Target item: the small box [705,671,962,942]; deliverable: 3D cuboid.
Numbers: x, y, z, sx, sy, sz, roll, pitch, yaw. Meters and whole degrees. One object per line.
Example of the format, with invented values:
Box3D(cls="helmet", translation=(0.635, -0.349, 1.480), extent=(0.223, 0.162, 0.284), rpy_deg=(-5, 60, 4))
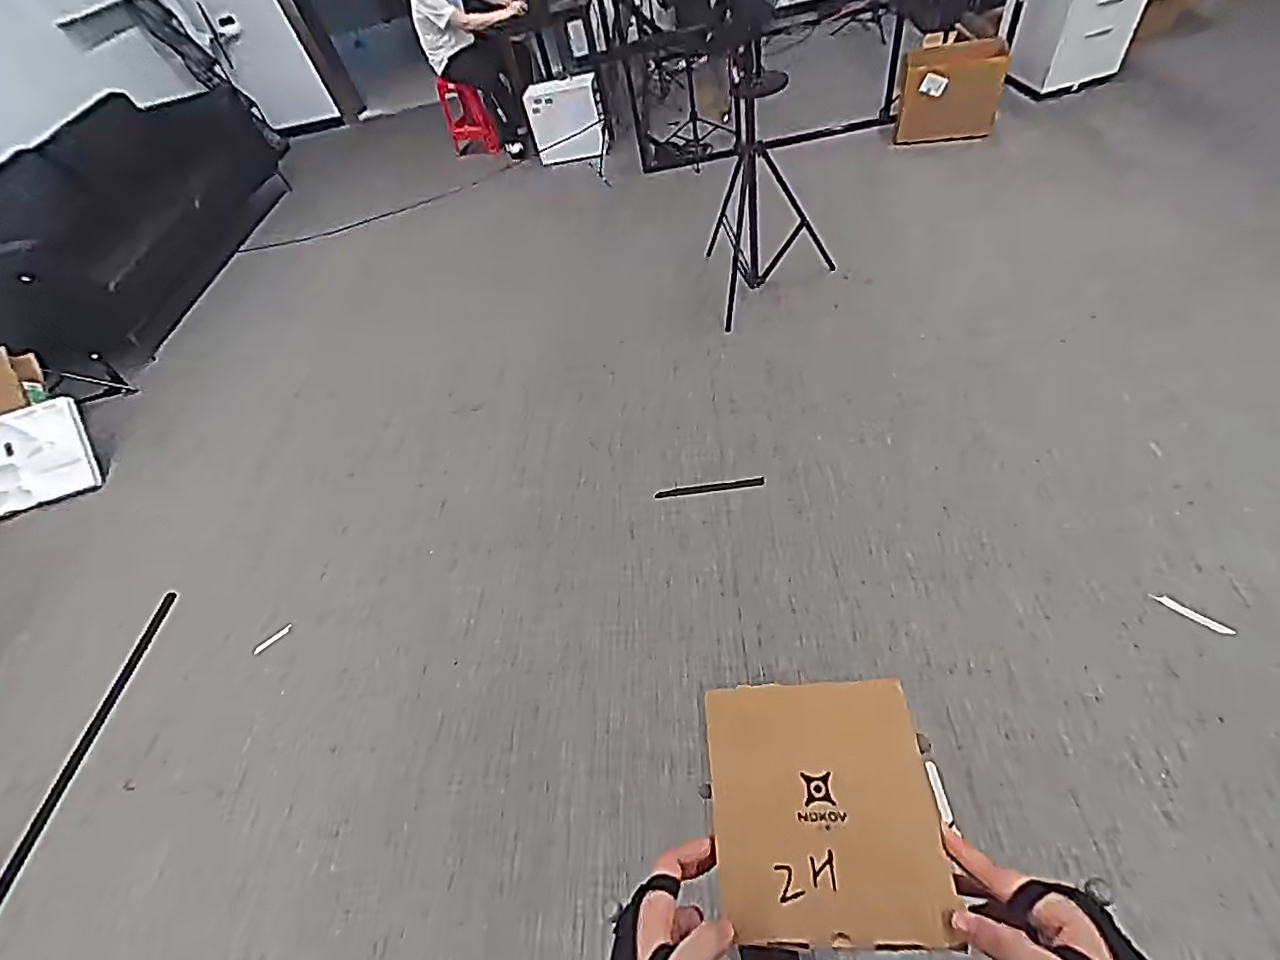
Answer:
Box3D(cls="small box", translation=(0.152, 0.282, 0.482), extent=(0.168, 0.176, 0.179), rpy_deg=(-7, 58, 11))
